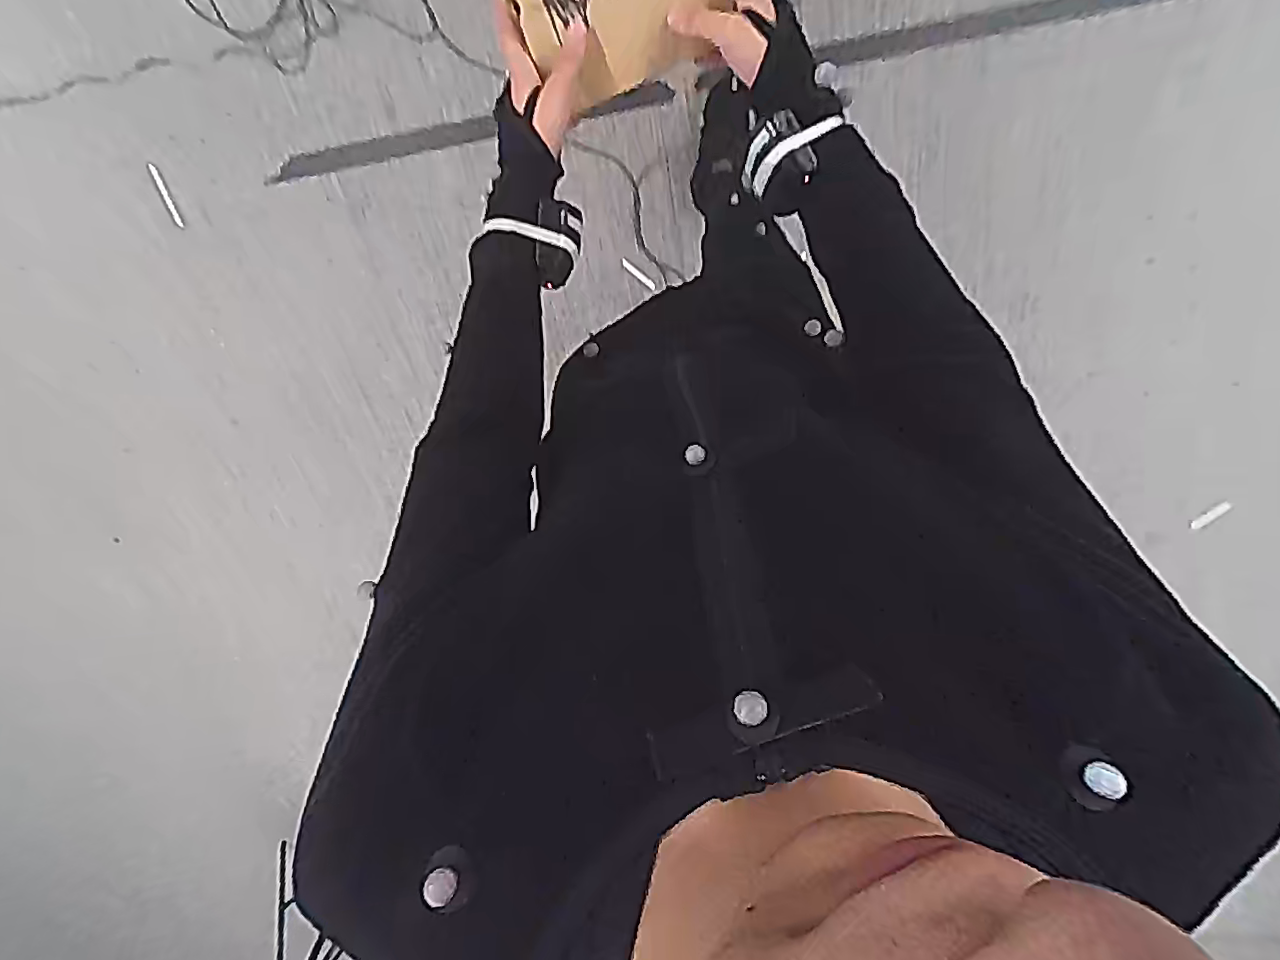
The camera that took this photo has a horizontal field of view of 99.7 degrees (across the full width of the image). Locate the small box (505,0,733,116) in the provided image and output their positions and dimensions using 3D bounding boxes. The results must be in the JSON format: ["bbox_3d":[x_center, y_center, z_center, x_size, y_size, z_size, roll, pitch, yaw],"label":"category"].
[{"bbox_3d":[-0.036,-0.460,0.491,0.179,0.176,0.168,-21,128,6],"label":"small box"}]
